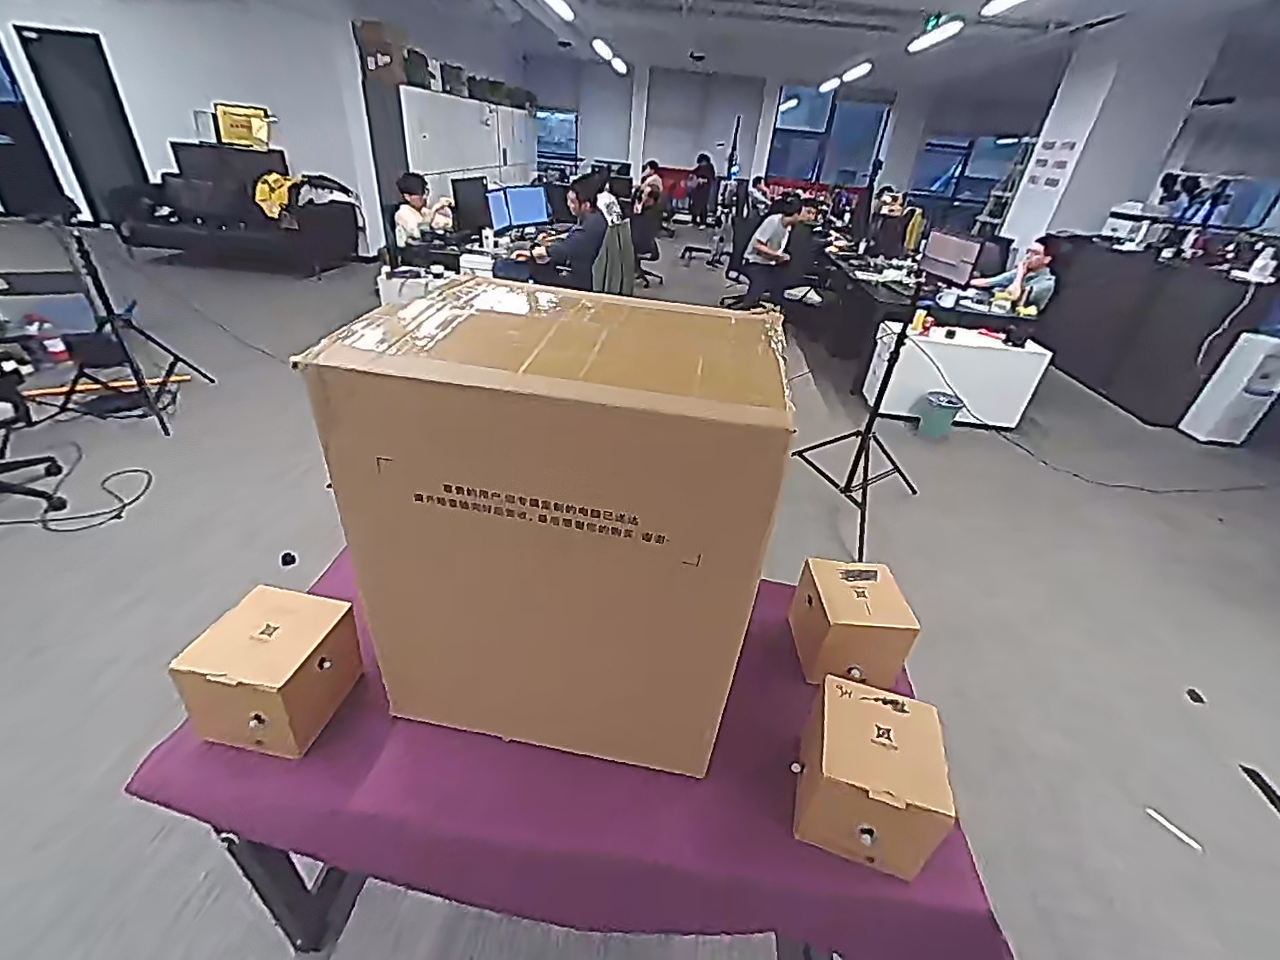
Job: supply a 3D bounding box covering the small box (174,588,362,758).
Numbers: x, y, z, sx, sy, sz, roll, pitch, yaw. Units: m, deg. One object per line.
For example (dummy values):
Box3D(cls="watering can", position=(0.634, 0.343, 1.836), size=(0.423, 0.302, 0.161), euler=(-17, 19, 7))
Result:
Box3D(cls="small box", position=(-0.567, 0.304, 0.857), size=(0.168, 0.176, 0.179), euler=(11, 29, 2))
